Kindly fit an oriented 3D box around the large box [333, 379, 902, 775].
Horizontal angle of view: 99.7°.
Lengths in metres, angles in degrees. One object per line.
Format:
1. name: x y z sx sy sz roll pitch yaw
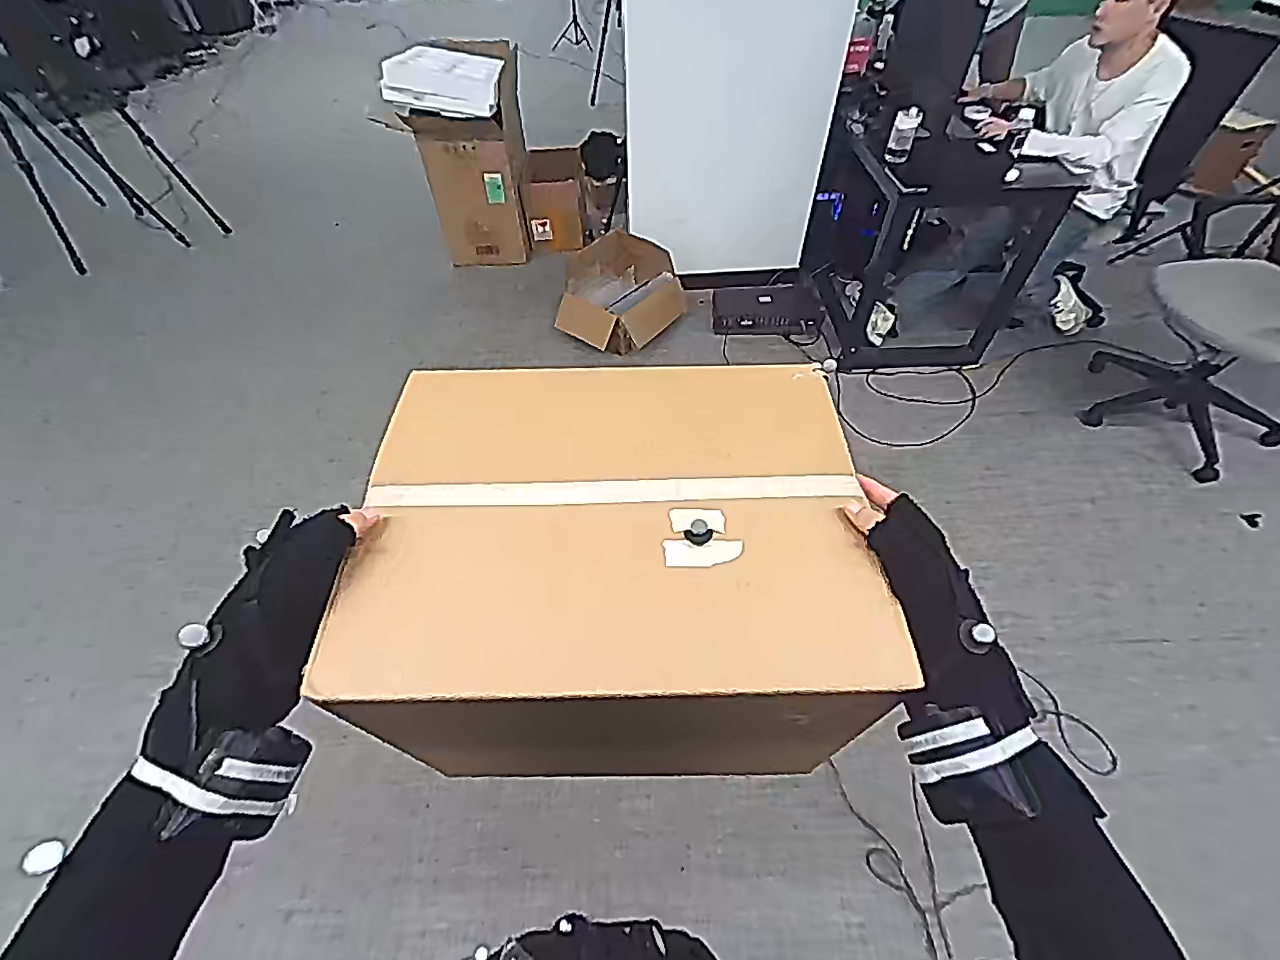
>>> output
1. large box: -0.018 0.111 0.578 0.408 0.320 0.320 0 53 0
